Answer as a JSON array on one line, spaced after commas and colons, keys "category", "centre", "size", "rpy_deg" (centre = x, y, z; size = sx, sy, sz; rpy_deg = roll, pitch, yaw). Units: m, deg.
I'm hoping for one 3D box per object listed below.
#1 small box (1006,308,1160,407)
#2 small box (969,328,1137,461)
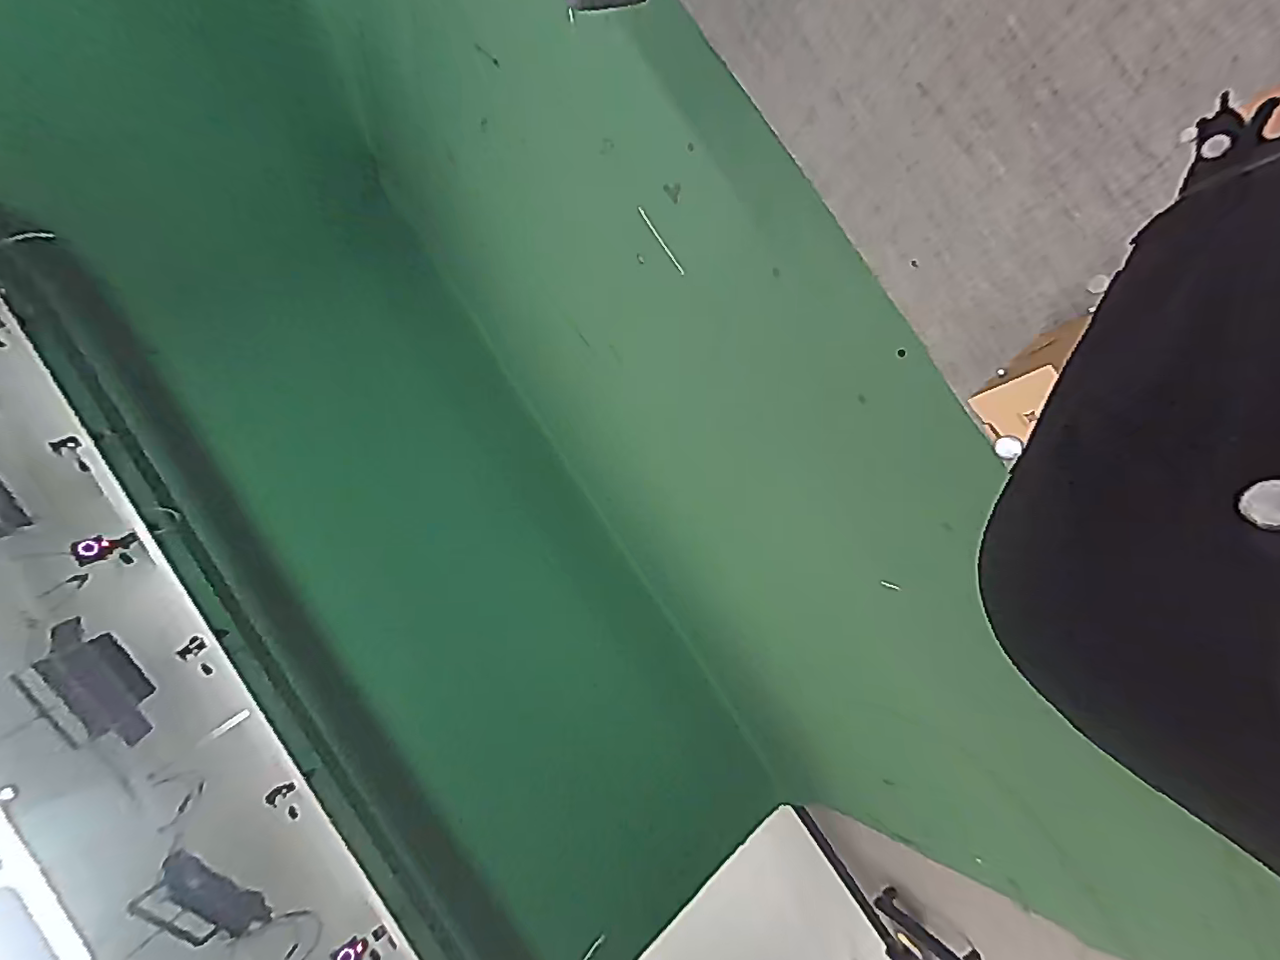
[{"category": "small box", "centre": [0.934, -0.240, 1.144], "size": [0.179, 0.176, 0.168], "rpy_deg": [56, 157, -1]}, {"category": "small box", "centre": [0.811, -0.166, 1.066], "size": [0.168, 0.176, 0.179], "rpy_deg": [55, 156, 2]}]
